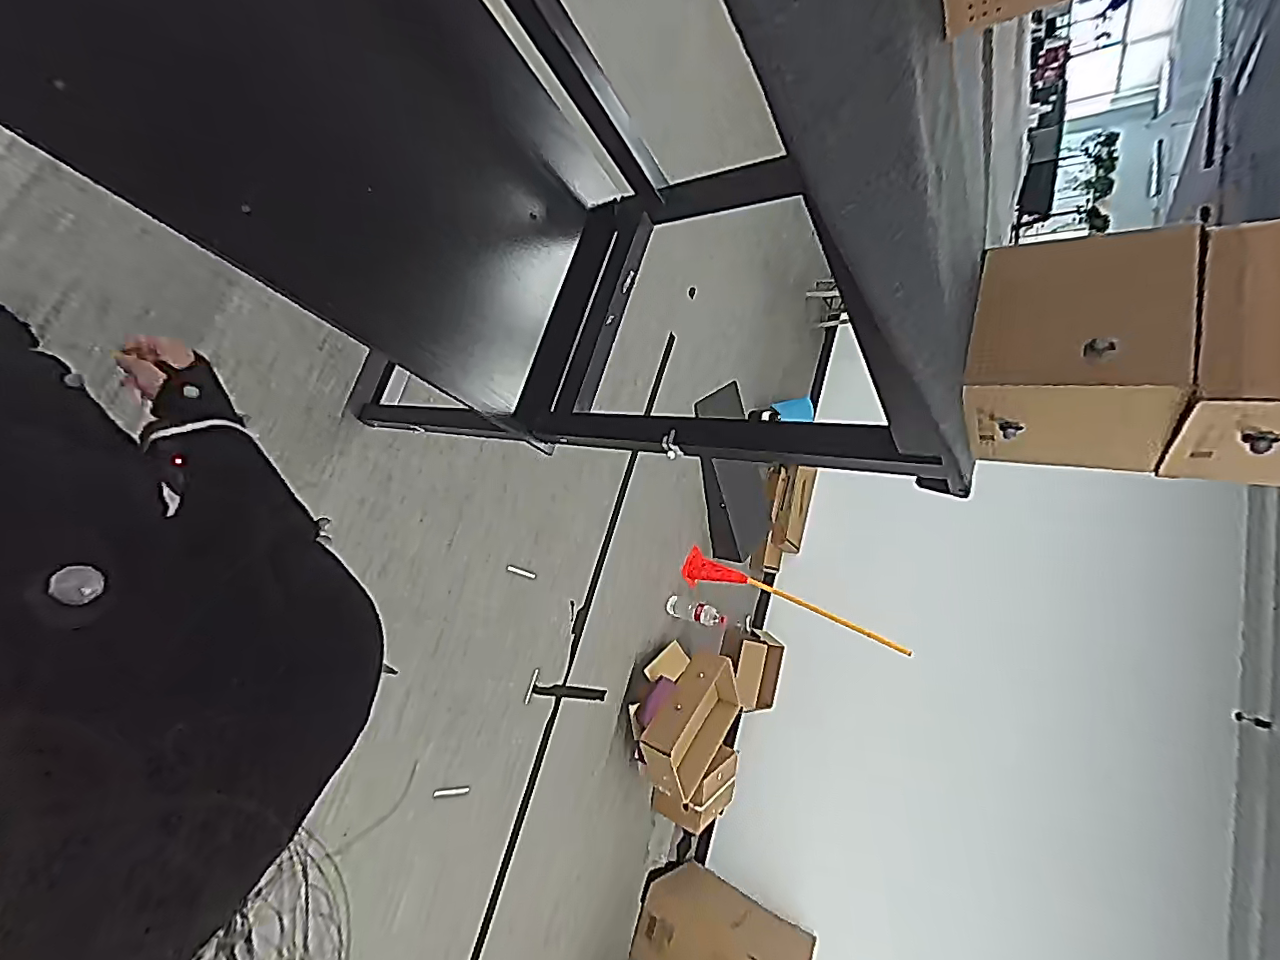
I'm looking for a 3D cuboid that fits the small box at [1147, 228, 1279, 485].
[{"bbox_3d":[0.577,-0.104,0.472,0.168,0.176,0.179,35,69,-50],"label":"small box"}]
